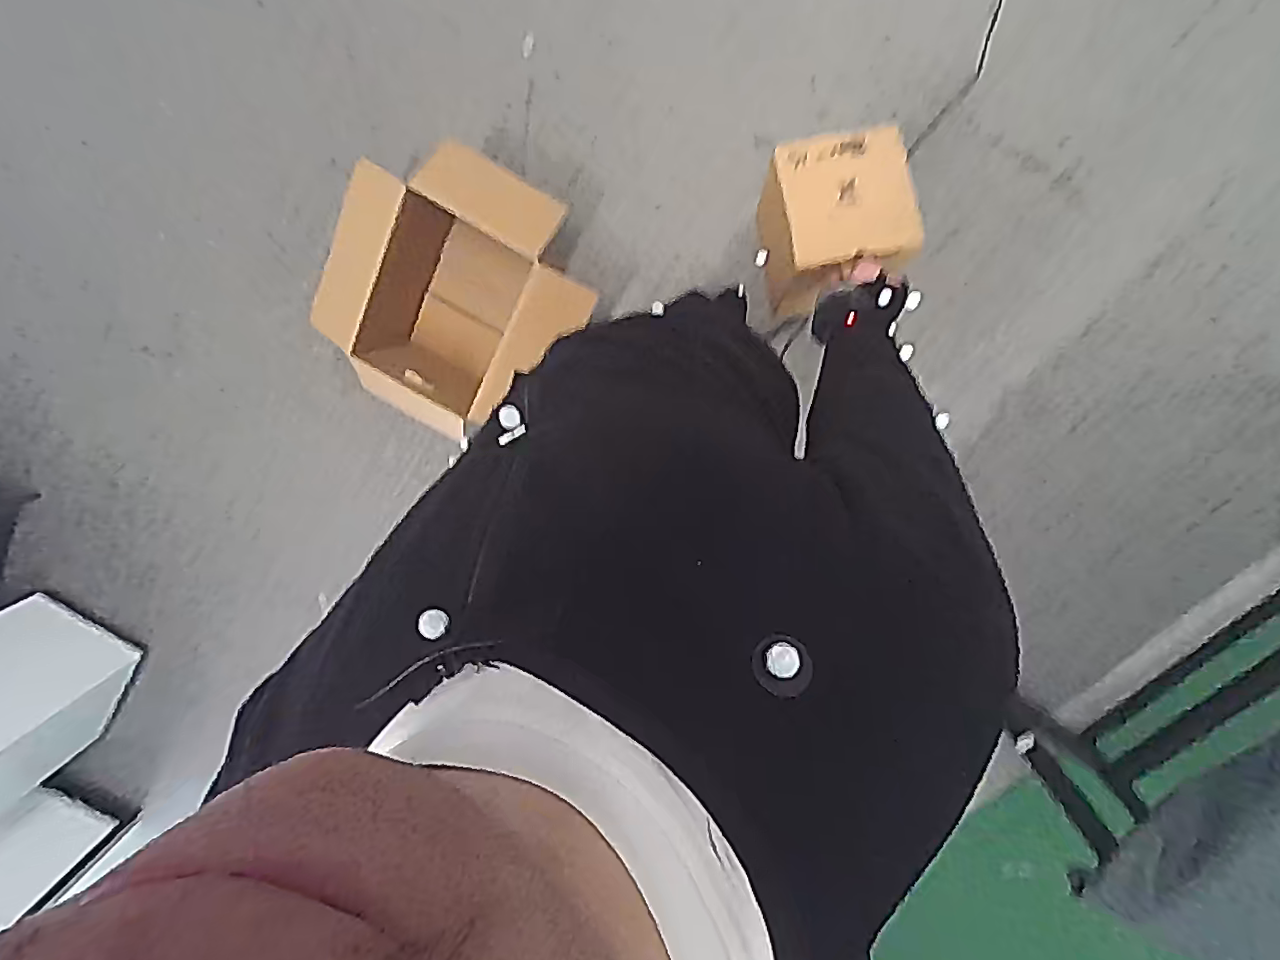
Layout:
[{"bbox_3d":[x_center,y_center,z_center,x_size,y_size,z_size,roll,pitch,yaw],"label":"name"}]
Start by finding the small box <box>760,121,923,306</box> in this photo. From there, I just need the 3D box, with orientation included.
[{"bbox_3d":[0.276,-0.365,0.778,0.168,0.176,0.179,-7,84,2],"label":"small box"}]
